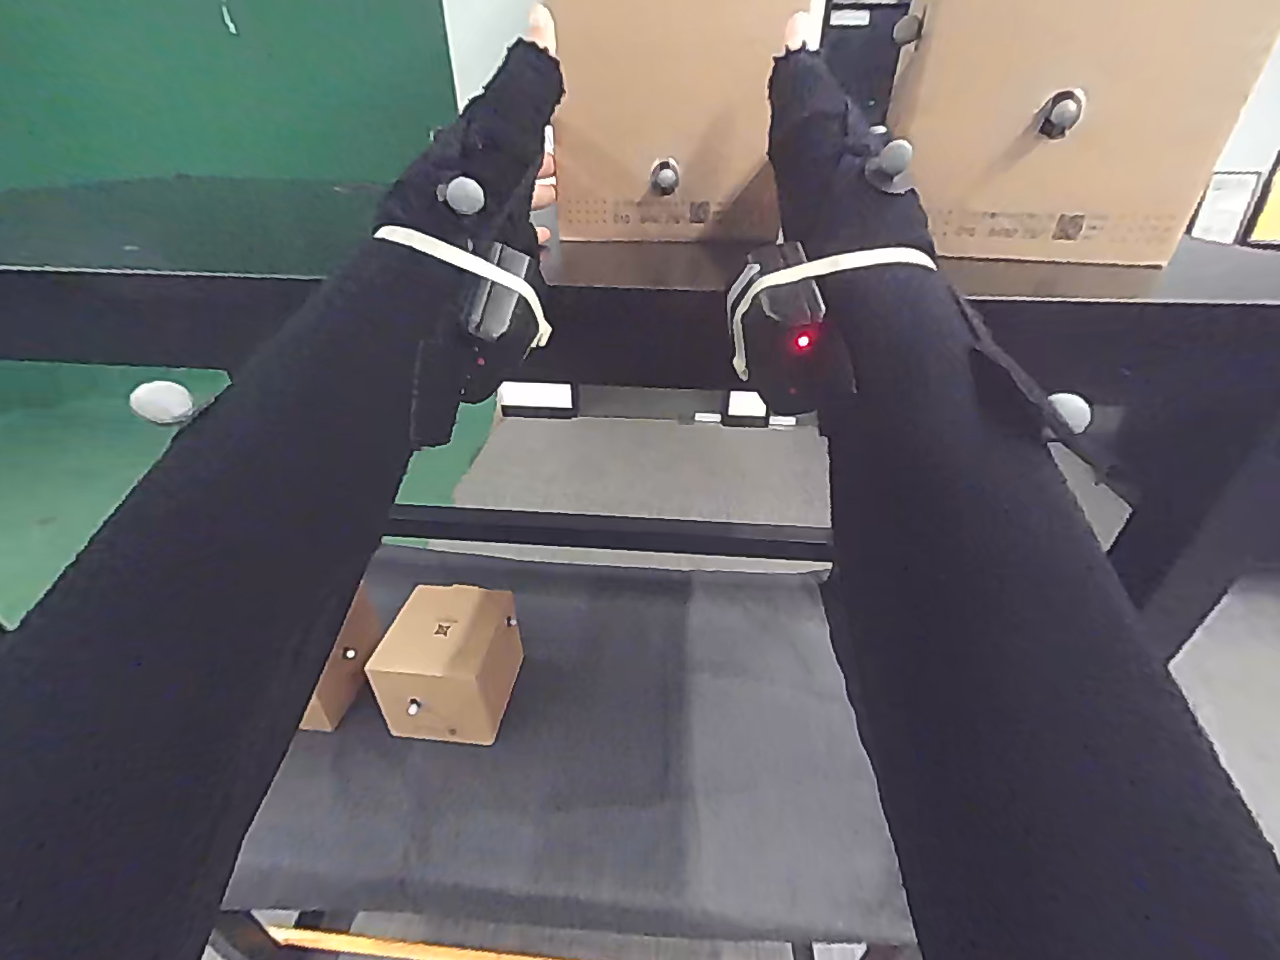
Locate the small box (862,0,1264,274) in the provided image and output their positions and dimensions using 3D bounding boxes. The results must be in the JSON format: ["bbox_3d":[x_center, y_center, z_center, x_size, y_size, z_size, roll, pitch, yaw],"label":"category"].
[{"bbox_3d":[0.264,-0.251,0.382,0.168,0.176,0.179,9,33,13],"label":"small box"}]

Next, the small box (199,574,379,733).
[{"bbox_3d":[-0.555,0.281,0.889,0.168,0.176,0.179,4,33,4],"label":"small box"}]

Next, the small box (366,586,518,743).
[{"bbox_3d":[-0.303,0.297,0.875,0.168,0.176,0.179,4,32,4],"label":"small box"}]
